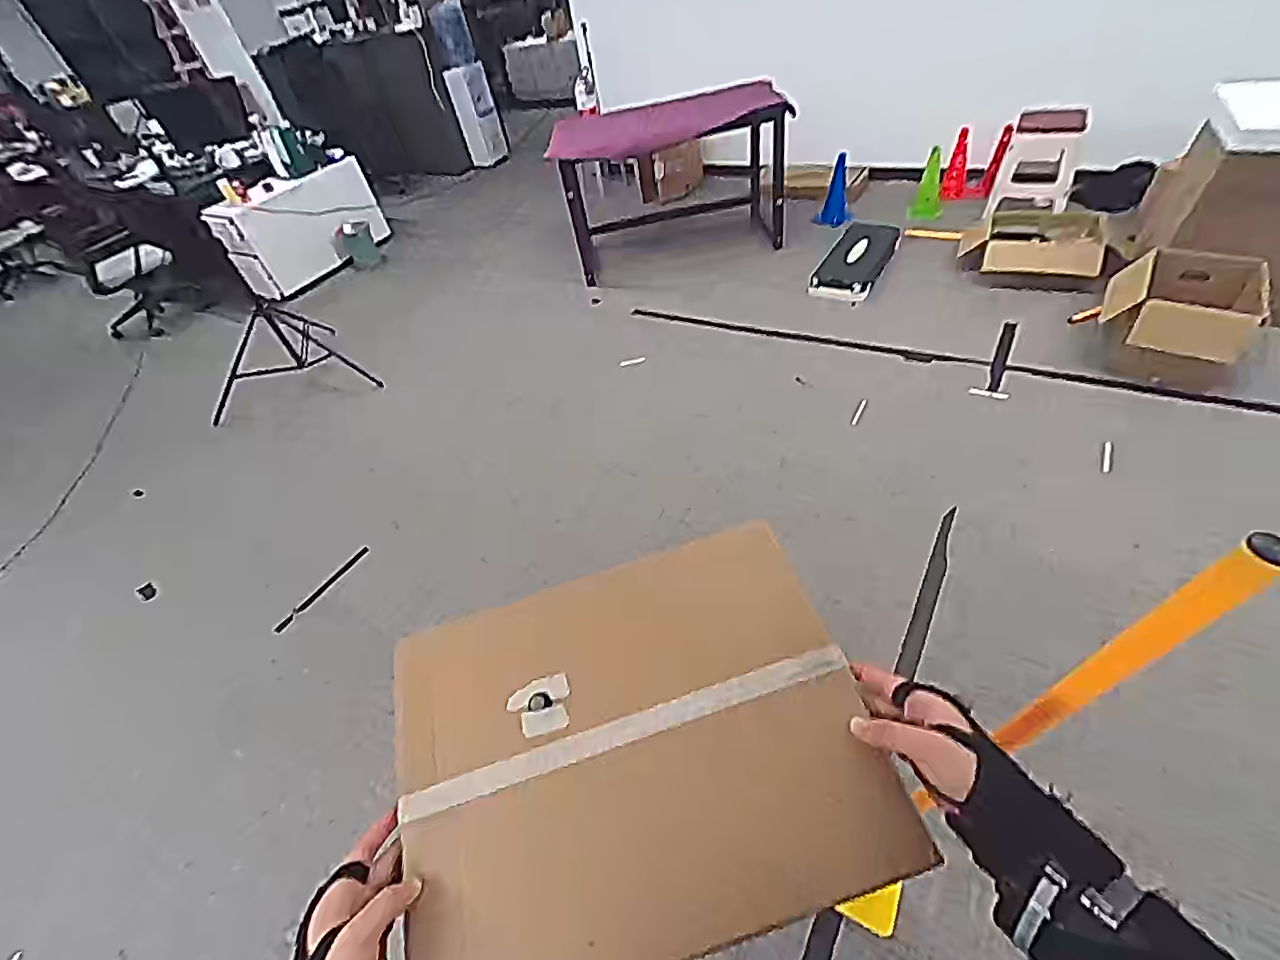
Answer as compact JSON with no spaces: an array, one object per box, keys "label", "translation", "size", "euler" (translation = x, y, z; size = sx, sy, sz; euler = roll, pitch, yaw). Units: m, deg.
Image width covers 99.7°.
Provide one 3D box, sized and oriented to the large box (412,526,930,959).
[{"label":"large box","translation":[0.017,0.310,0.607],"size":[0.408,0.320,0.320],"euler":[-19,54,-3]}]
